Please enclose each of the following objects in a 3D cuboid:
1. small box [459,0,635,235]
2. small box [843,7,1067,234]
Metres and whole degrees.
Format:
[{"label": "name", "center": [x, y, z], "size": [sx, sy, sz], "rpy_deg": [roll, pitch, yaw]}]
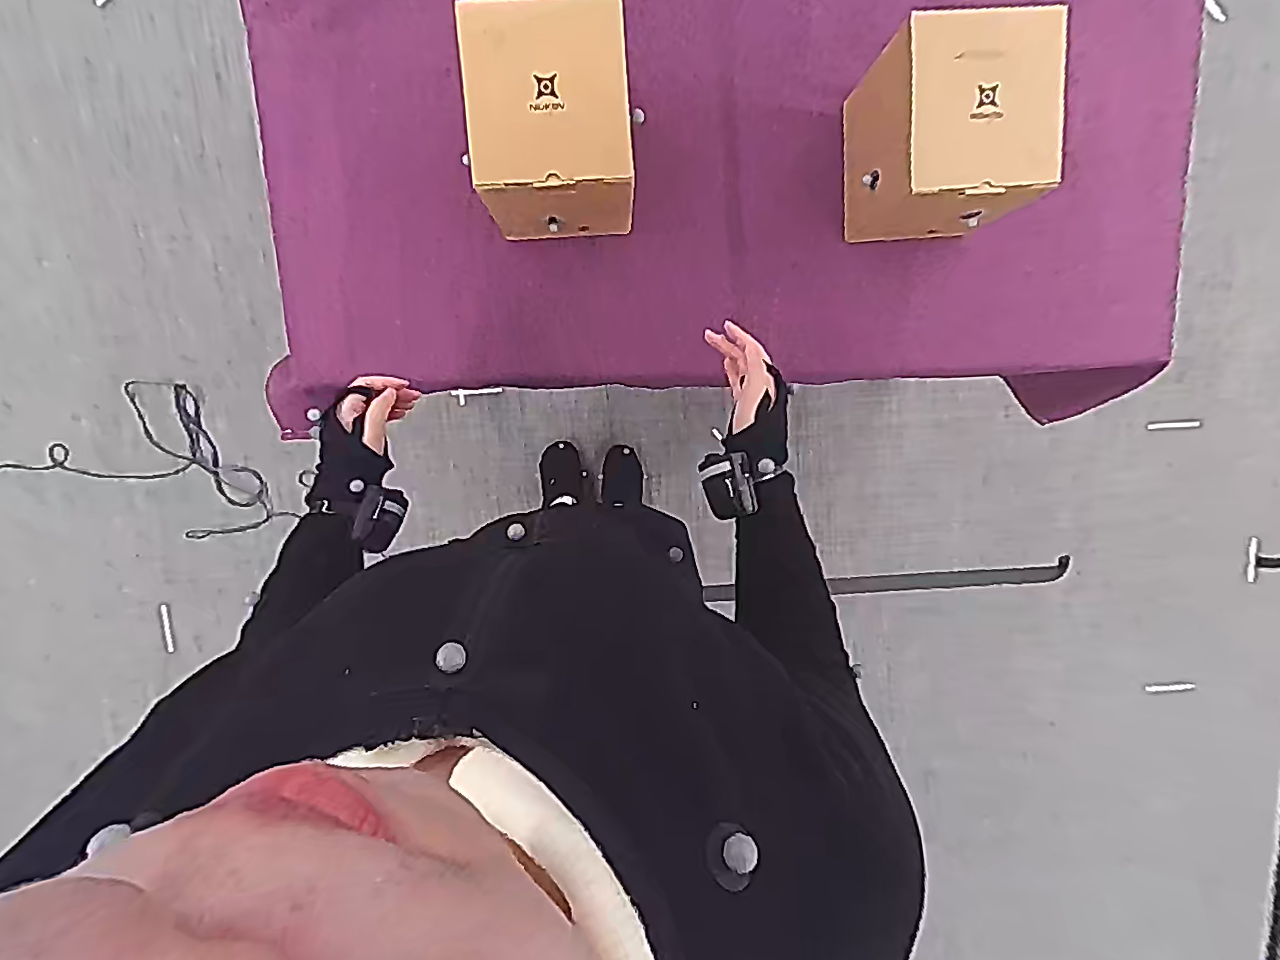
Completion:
[{"label": "small box", "center": [-0.096, -0.401, 0.620], "size": [0.168, 0.176, 0.179], "rpy_deg": [-4, 99, -2]}, {"label": "small box", "center": [0.353, -0.402, 0.638], "size": [0.168, 0.176, 0.179], "rpy_deg": [-3, 97, -2]}]
